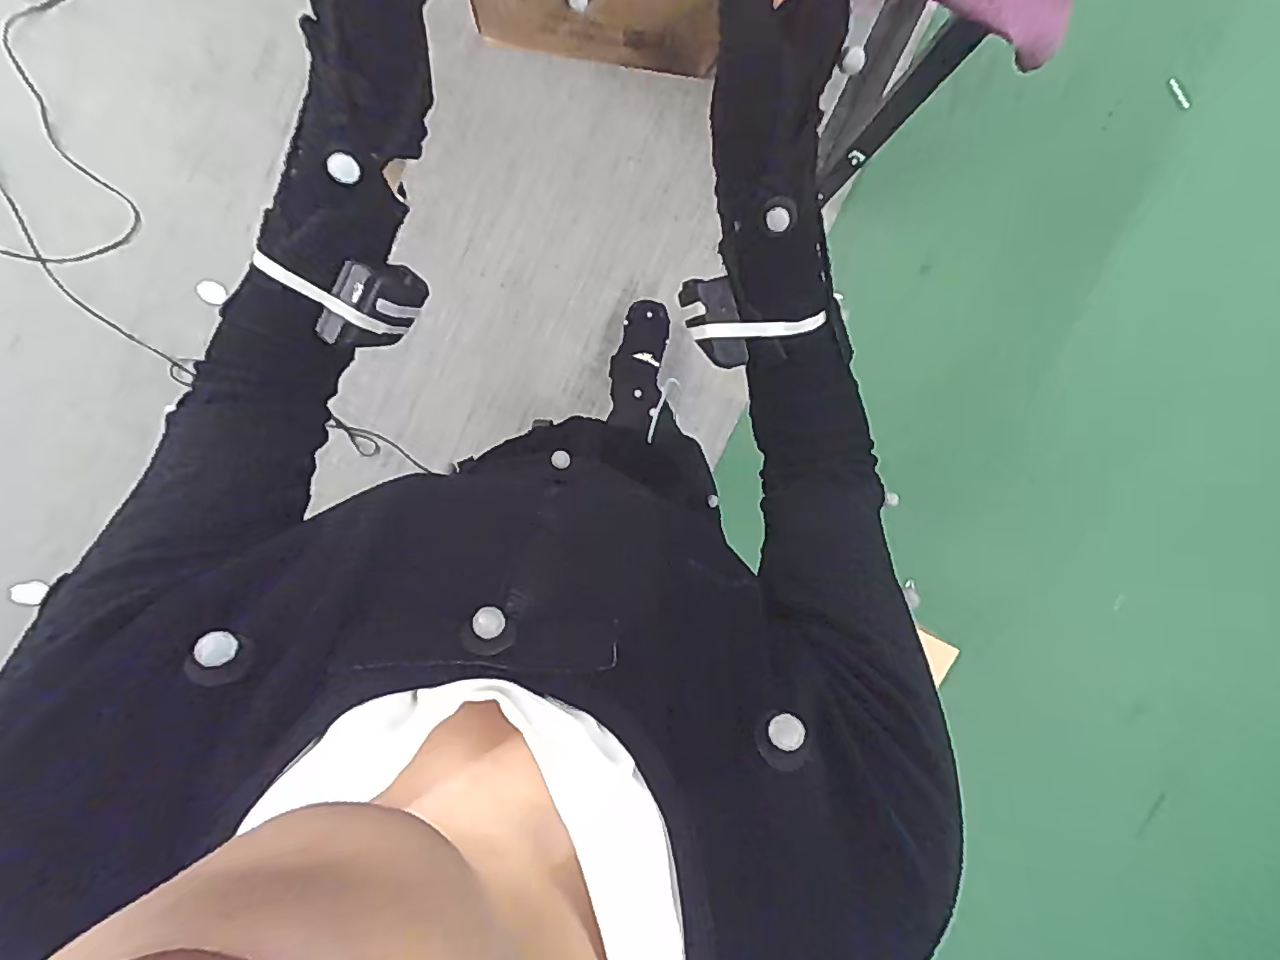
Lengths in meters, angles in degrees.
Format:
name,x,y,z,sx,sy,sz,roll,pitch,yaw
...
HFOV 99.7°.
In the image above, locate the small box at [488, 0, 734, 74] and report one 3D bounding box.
name,x,y,z,sx,sy,sz,roll,pitch,yaw
small box,-0.011,-0.384,0.302,0.168,0.176,0.179,7,90,-3
